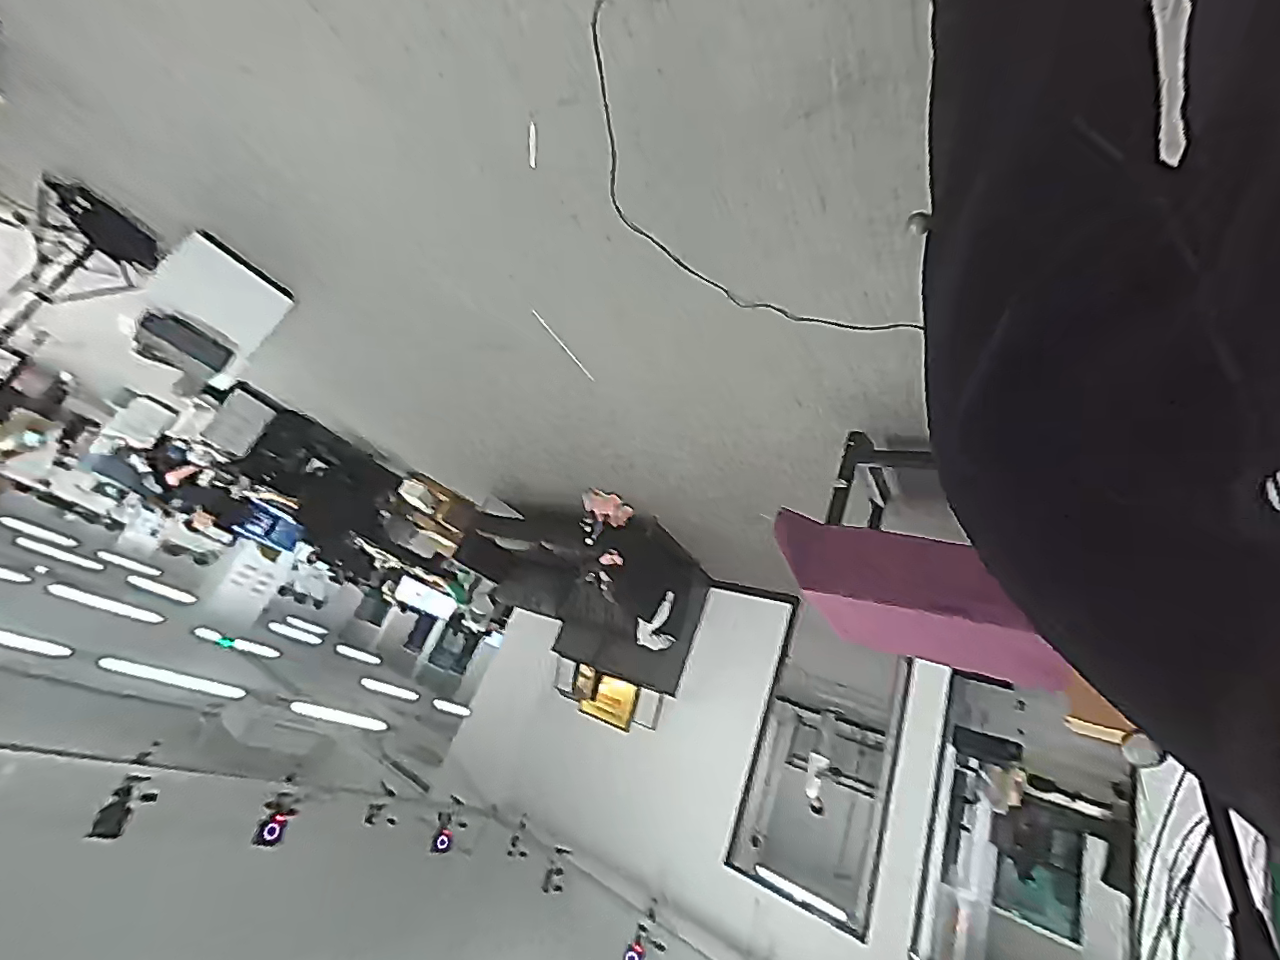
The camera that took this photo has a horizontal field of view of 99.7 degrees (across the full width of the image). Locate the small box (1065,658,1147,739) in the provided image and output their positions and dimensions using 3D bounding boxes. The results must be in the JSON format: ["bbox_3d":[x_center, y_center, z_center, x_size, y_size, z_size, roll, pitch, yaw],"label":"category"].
[{"bbox_3d":[1.414,0.657,1.645,0.179,0.176,0.168,4,152,40],"label":"small box"}]
